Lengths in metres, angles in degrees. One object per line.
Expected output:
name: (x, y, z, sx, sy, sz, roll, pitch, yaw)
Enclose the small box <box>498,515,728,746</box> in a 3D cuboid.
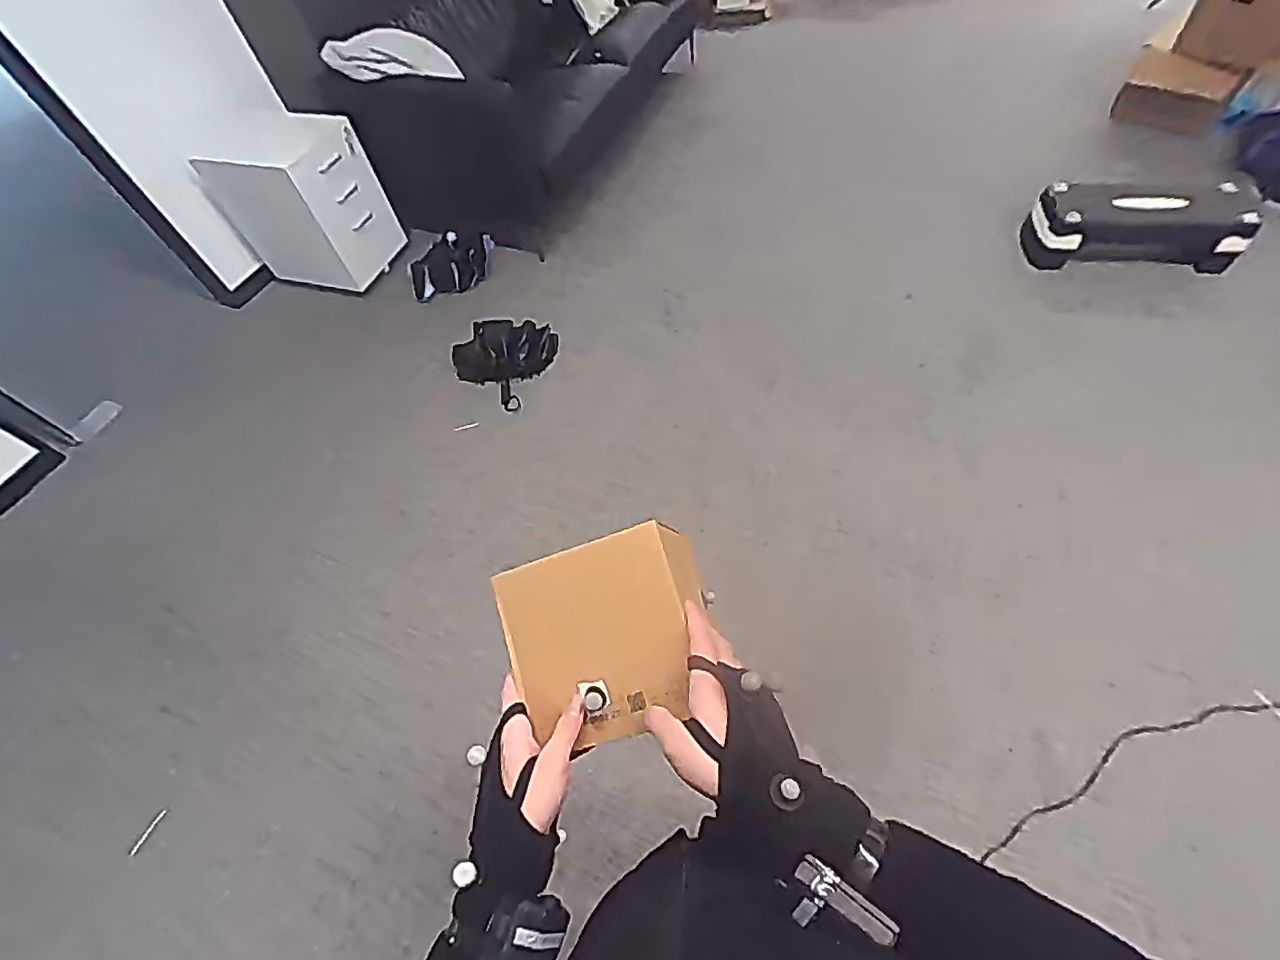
small box: (-0.017, 0.149, 0.552, 0.168, 0.179, 0.176, -21, 76, 9)
